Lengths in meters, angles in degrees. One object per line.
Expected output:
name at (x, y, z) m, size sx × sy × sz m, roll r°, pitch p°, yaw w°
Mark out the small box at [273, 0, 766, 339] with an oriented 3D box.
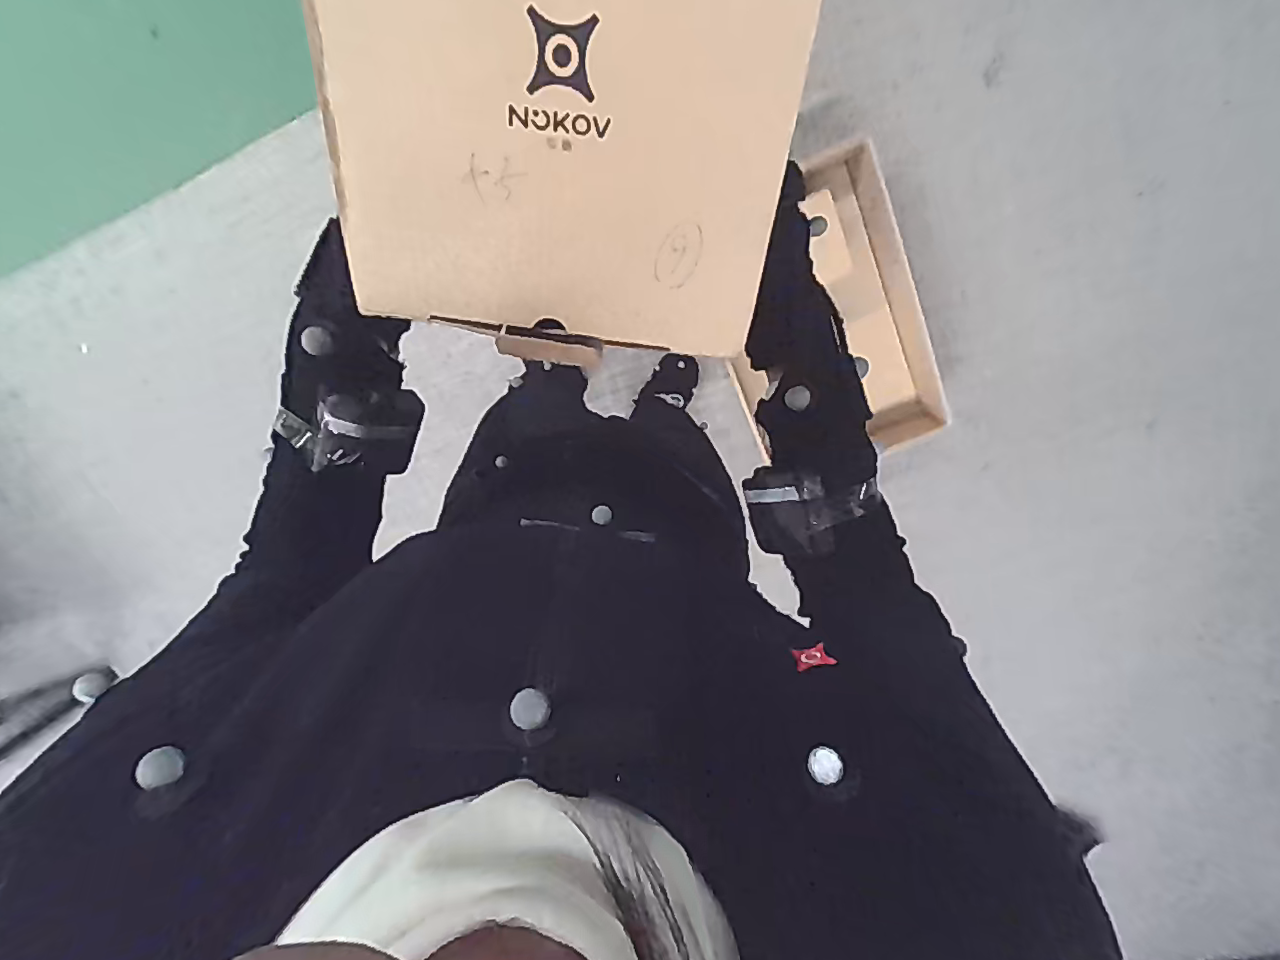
small box at (-0.038, -0.187, 0.255) m, size 0.168 × 0.176 × 0.179 m, roll 6°, pitch 124°, yaw -2°
